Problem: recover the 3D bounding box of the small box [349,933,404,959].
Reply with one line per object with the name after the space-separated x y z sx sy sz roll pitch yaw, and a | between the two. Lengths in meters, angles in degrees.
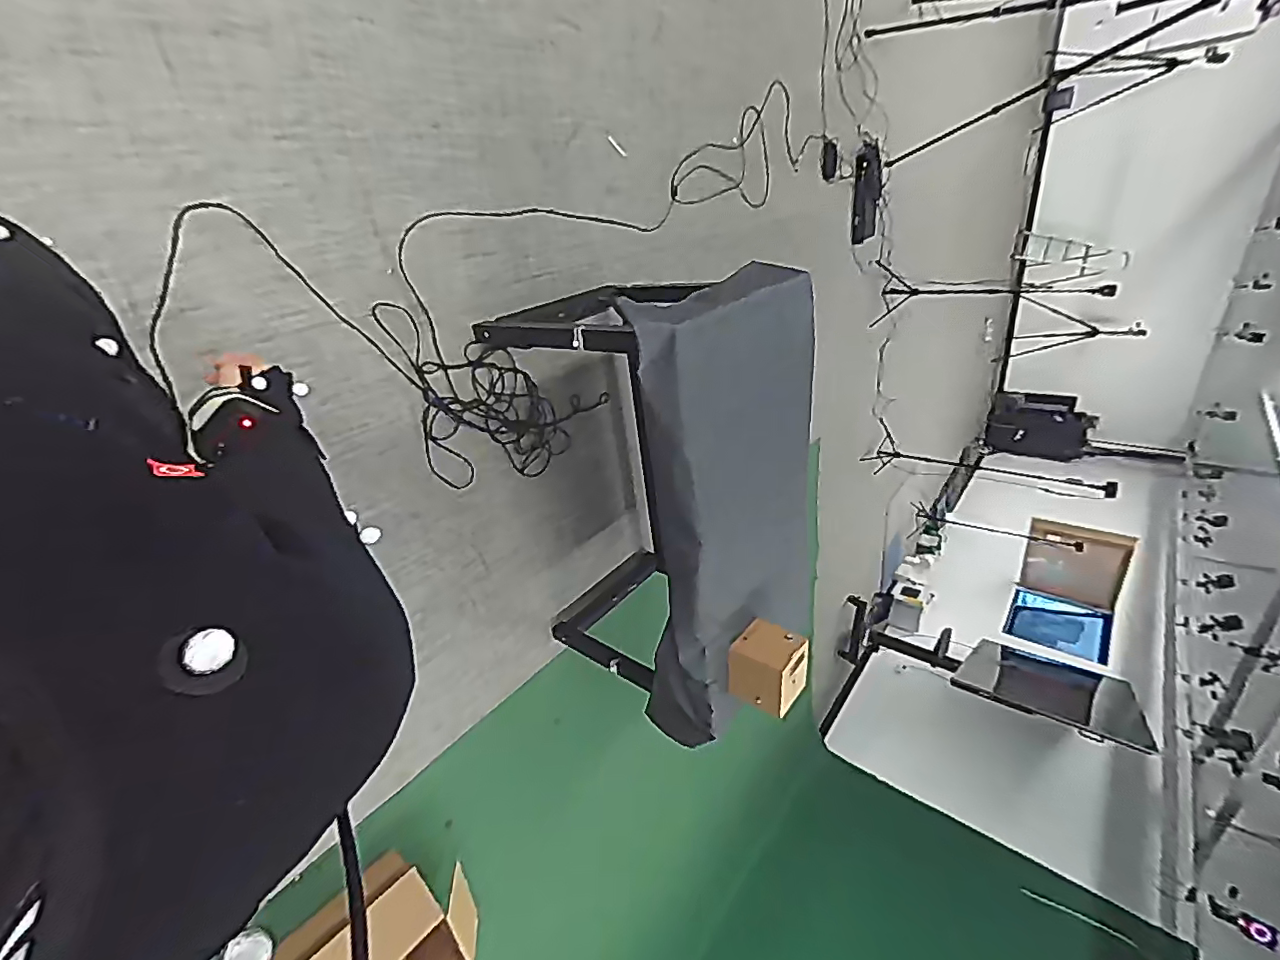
-0.694 1.357 1.420 0.168 0.176 0.179 -29 124 -42 | small box
